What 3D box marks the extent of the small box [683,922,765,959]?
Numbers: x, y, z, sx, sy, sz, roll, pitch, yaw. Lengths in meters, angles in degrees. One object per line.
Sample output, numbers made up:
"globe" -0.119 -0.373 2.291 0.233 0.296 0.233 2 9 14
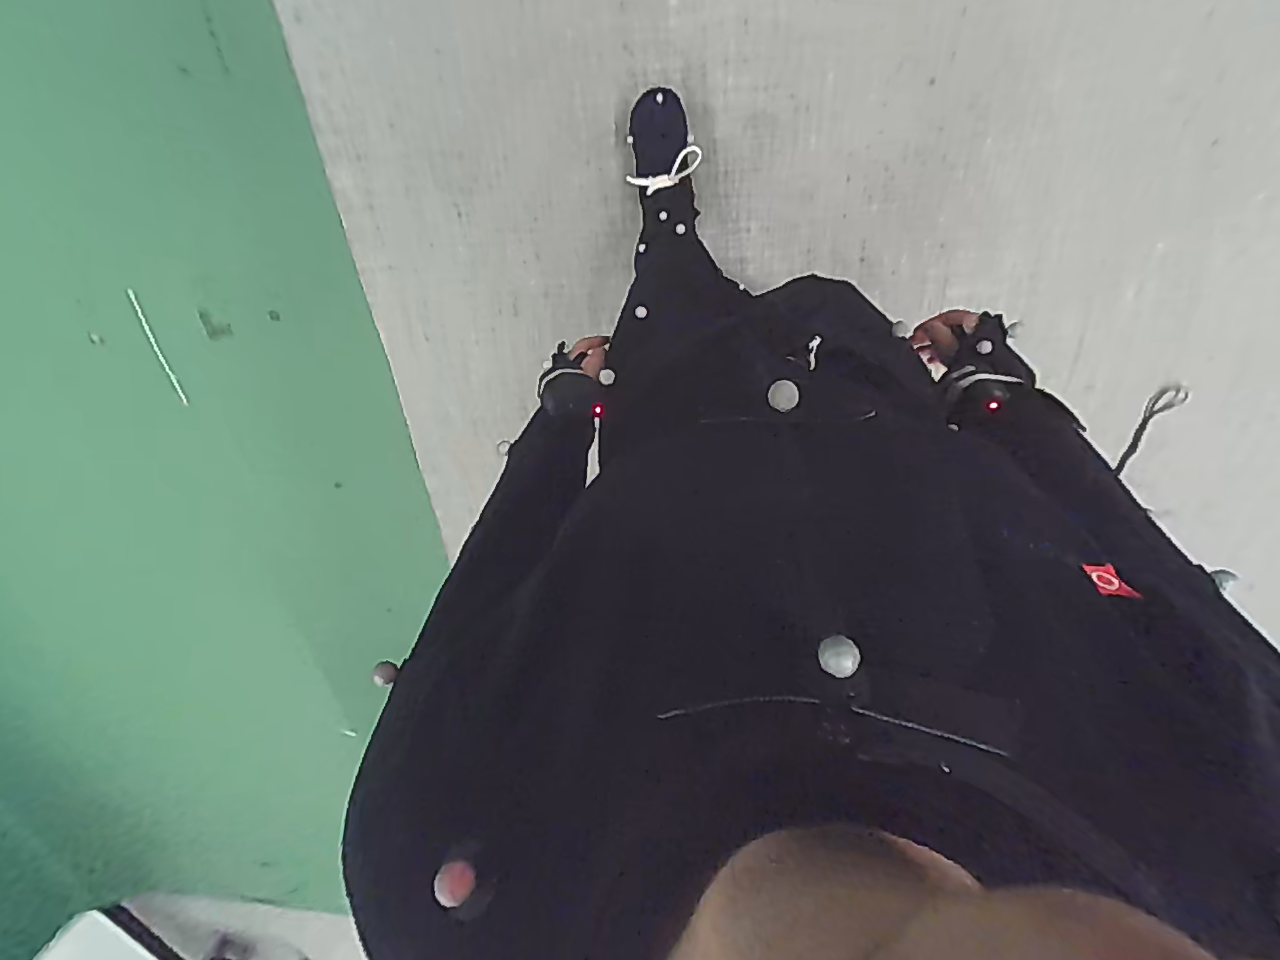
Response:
"small box" 0.169 1.034 1.092 0.168 0.176 0.179 0 120 9
